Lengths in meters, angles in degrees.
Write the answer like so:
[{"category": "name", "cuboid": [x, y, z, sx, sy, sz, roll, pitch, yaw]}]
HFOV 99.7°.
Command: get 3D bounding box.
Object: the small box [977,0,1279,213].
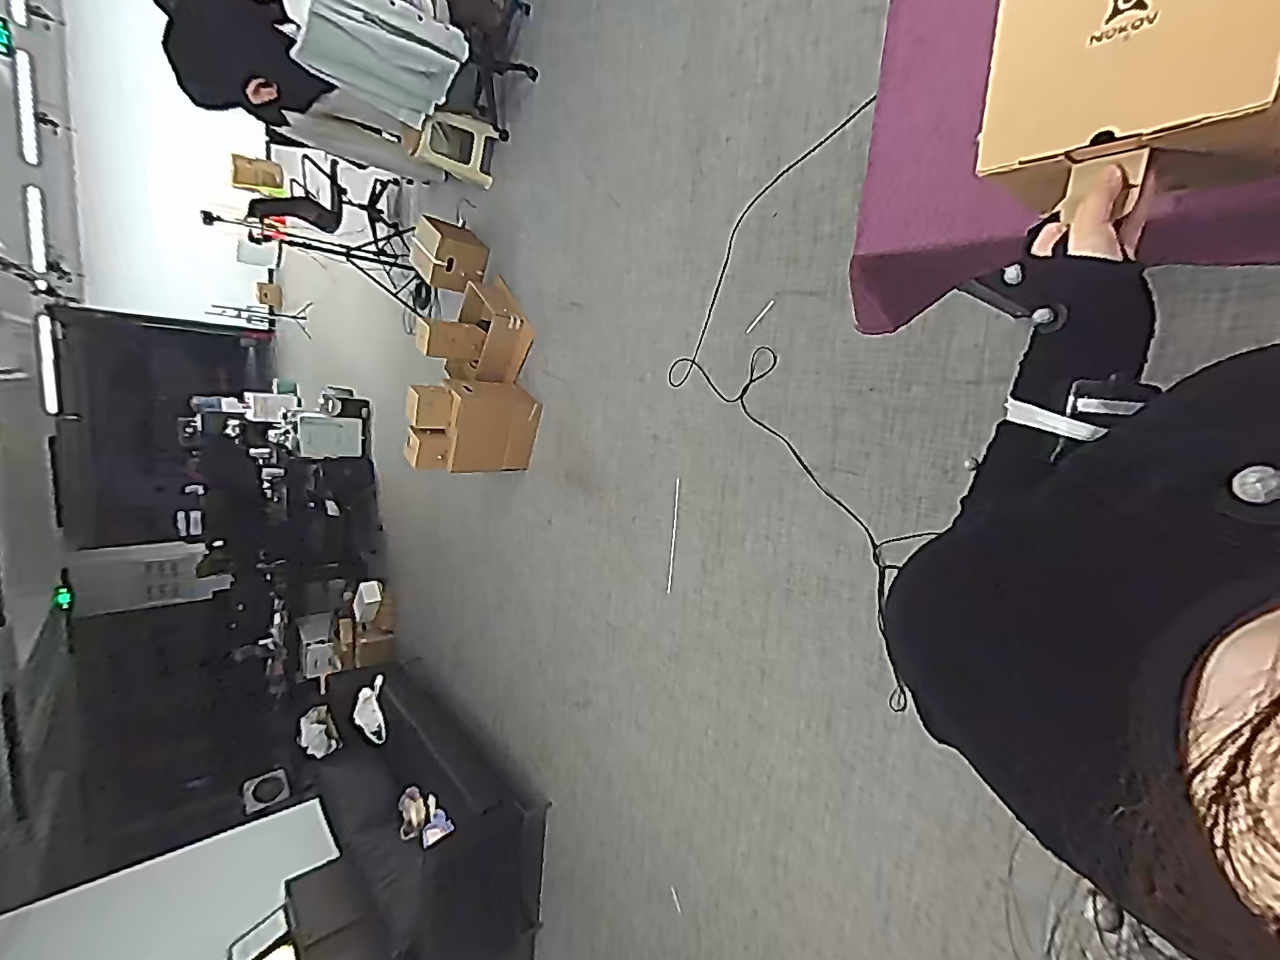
[{"category": "small box", "cuboid": [0.405, -0.338, 0.436, 0.168, 0.176, 0.179, 16, 108, 50]}]
